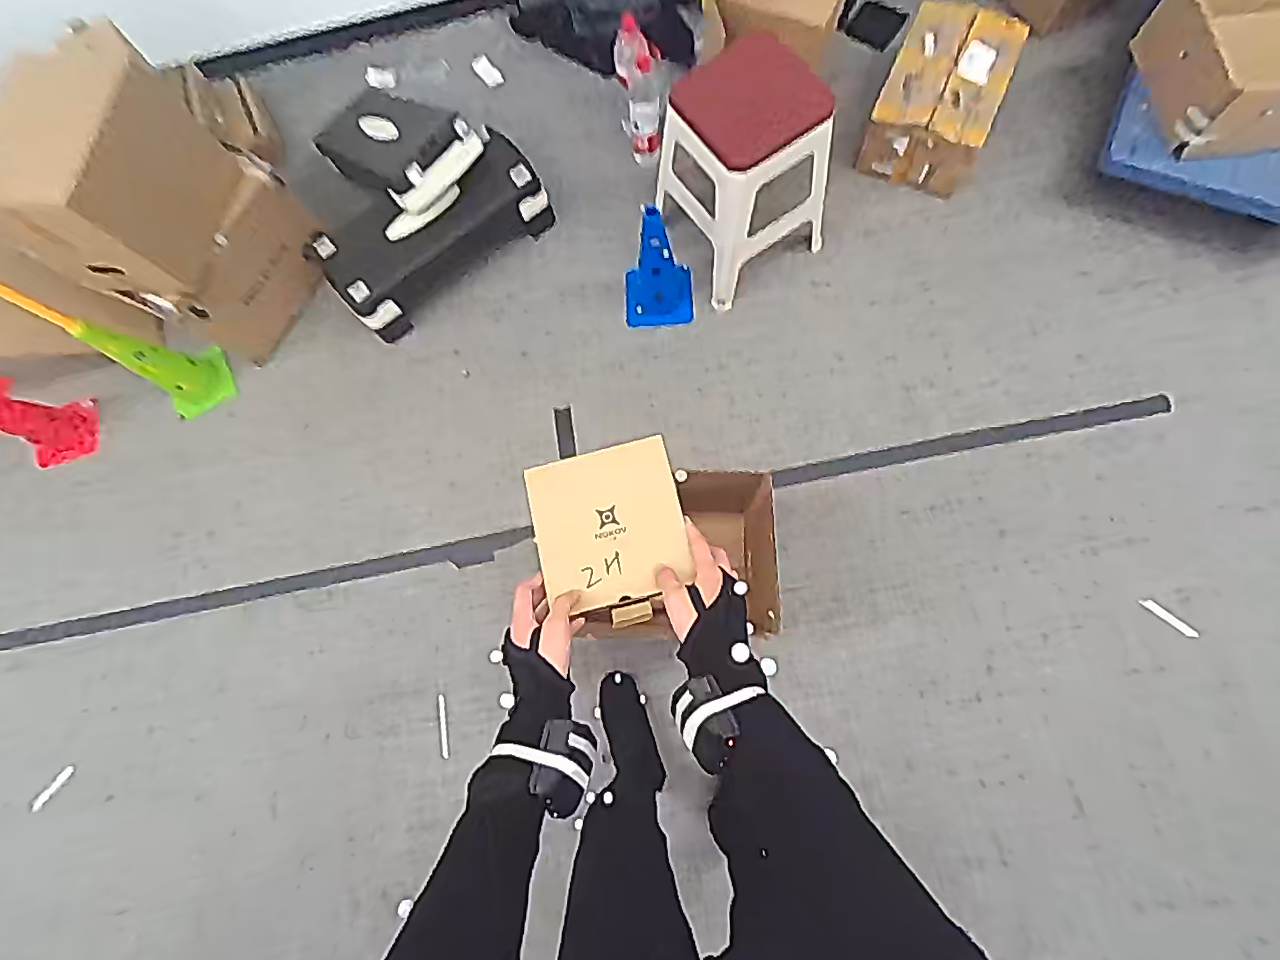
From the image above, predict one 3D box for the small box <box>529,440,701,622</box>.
[{"bbox_3d":[-0.025,0.070,0.676,0.168,0.176,0.179,-14,78,3],"label":"small box"}]
